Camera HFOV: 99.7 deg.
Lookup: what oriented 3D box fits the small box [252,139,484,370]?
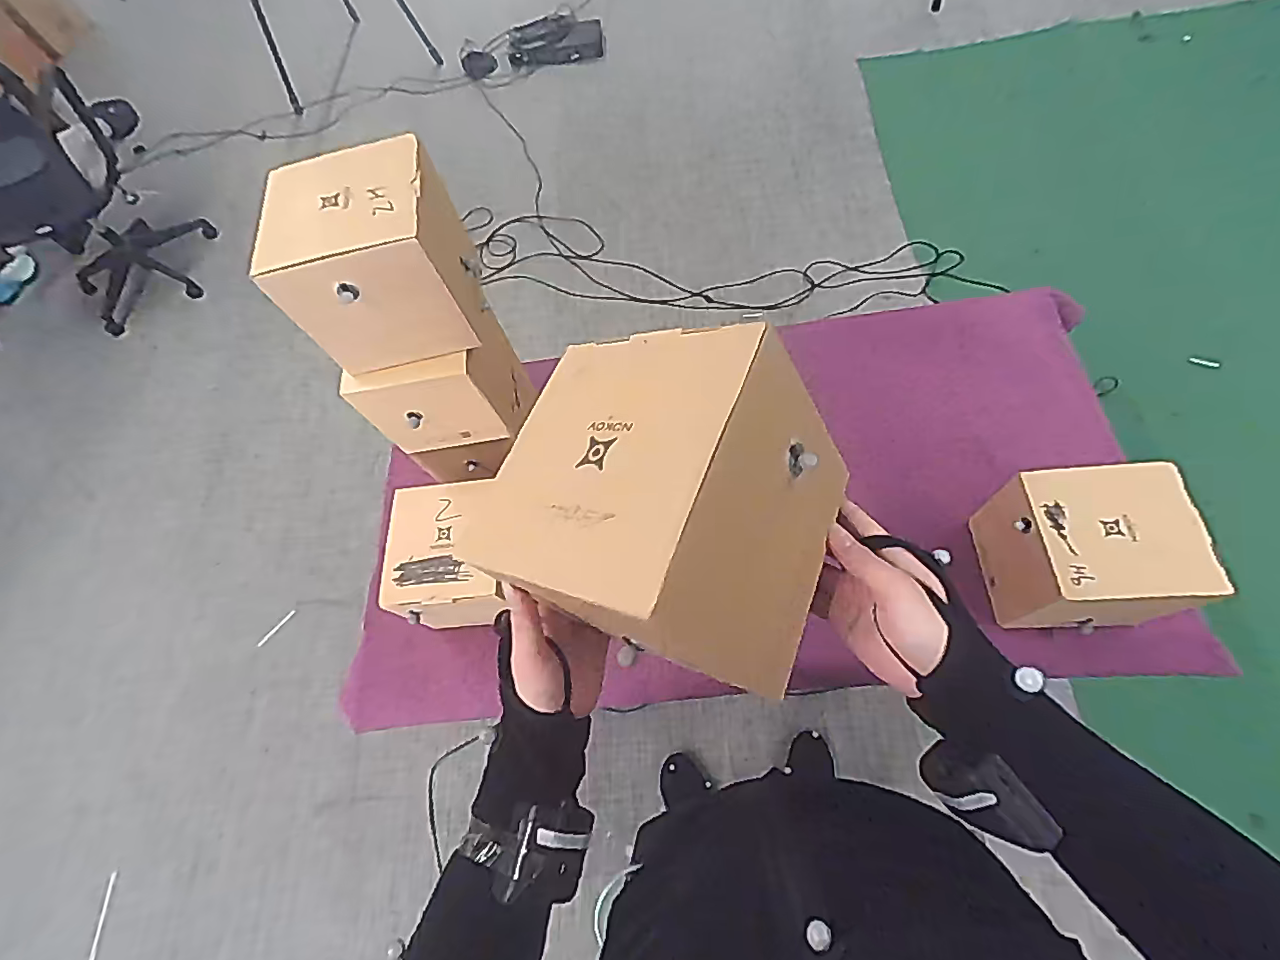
[{"bbox_3d":[-0.301,-0.252,0.635,0.179,0.176,0.168,-12,65,2],"label":"small box"}]

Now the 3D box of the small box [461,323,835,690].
[{"bbox_3d":[0.020,0.020,0.377,0.168,0.176,0.179,5,64,40],"label":"small box"}]

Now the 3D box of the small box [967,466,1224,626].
[{"bbox_3d":[0.571,0.093,0.710,0.179,0.176,0.168,-3,64,7],"label":"small box"}]

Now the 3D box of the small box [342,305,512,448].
[{"bbox_3d":[-0.289,-0.159,0.773,0.168,0.176,0.179,-9,64,4],"label":"small box"}]
